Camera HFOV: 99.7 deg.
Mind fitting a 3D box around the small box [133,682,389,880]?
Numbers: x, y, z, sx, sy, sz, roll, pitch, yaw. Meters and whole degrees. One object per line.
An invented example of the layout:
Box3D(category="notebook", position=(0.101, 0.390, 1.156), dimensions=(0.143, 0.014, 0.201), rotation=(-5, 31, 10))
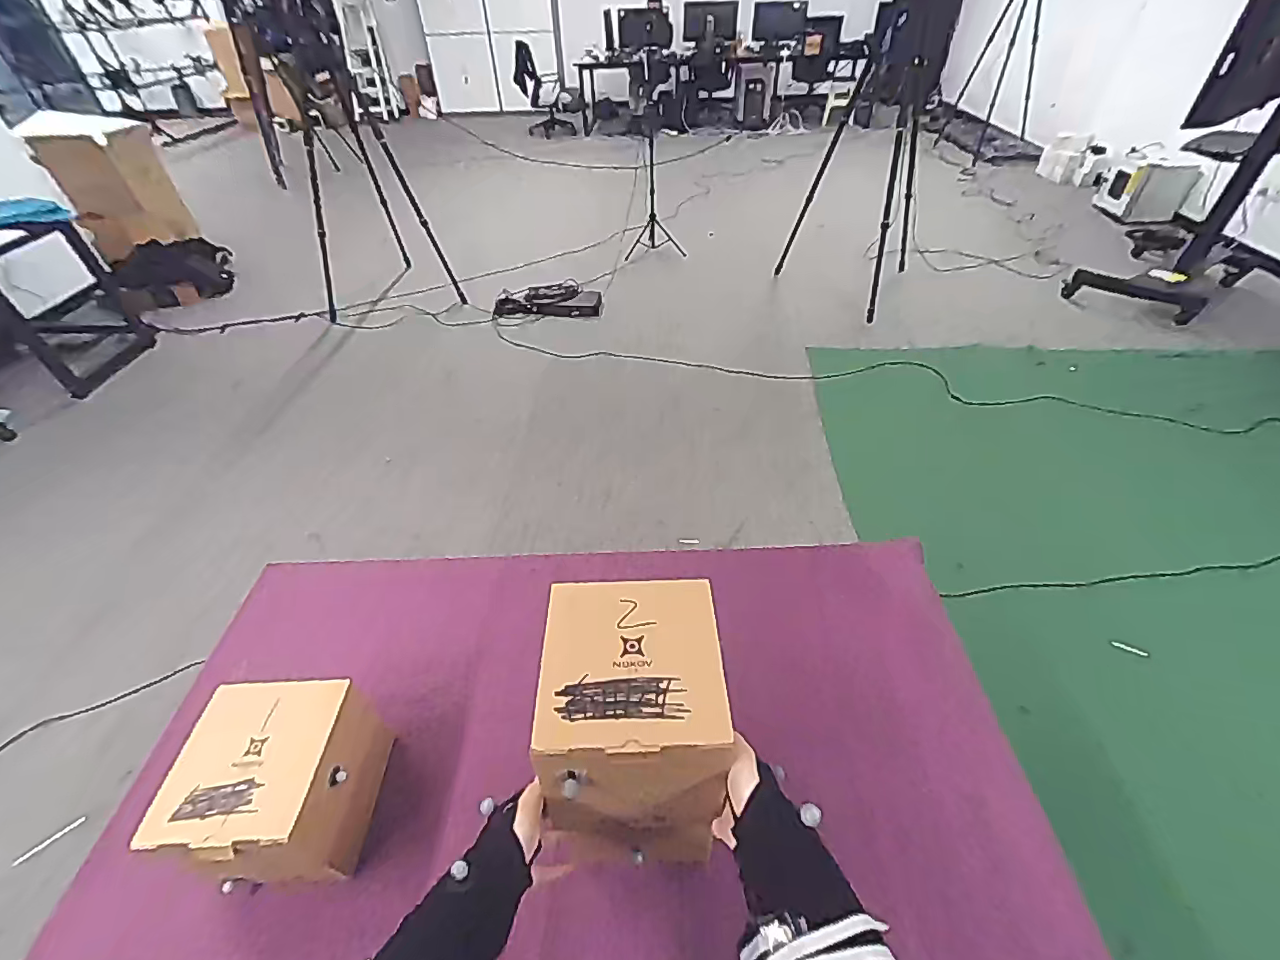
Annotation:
Box3D(category="small box", position=(-0.435, 0.372, 0.664), dimensions=(0.168, 0.176, 0.179), rotation=(-2, 42, 0))

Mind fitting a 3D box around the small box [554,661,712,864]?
Box3D(category="small box", position=(-0.002, 0.345, 0.666), dimensions=(0.168, 0.176, 0.179), rotation=(-1, 43, 3))
